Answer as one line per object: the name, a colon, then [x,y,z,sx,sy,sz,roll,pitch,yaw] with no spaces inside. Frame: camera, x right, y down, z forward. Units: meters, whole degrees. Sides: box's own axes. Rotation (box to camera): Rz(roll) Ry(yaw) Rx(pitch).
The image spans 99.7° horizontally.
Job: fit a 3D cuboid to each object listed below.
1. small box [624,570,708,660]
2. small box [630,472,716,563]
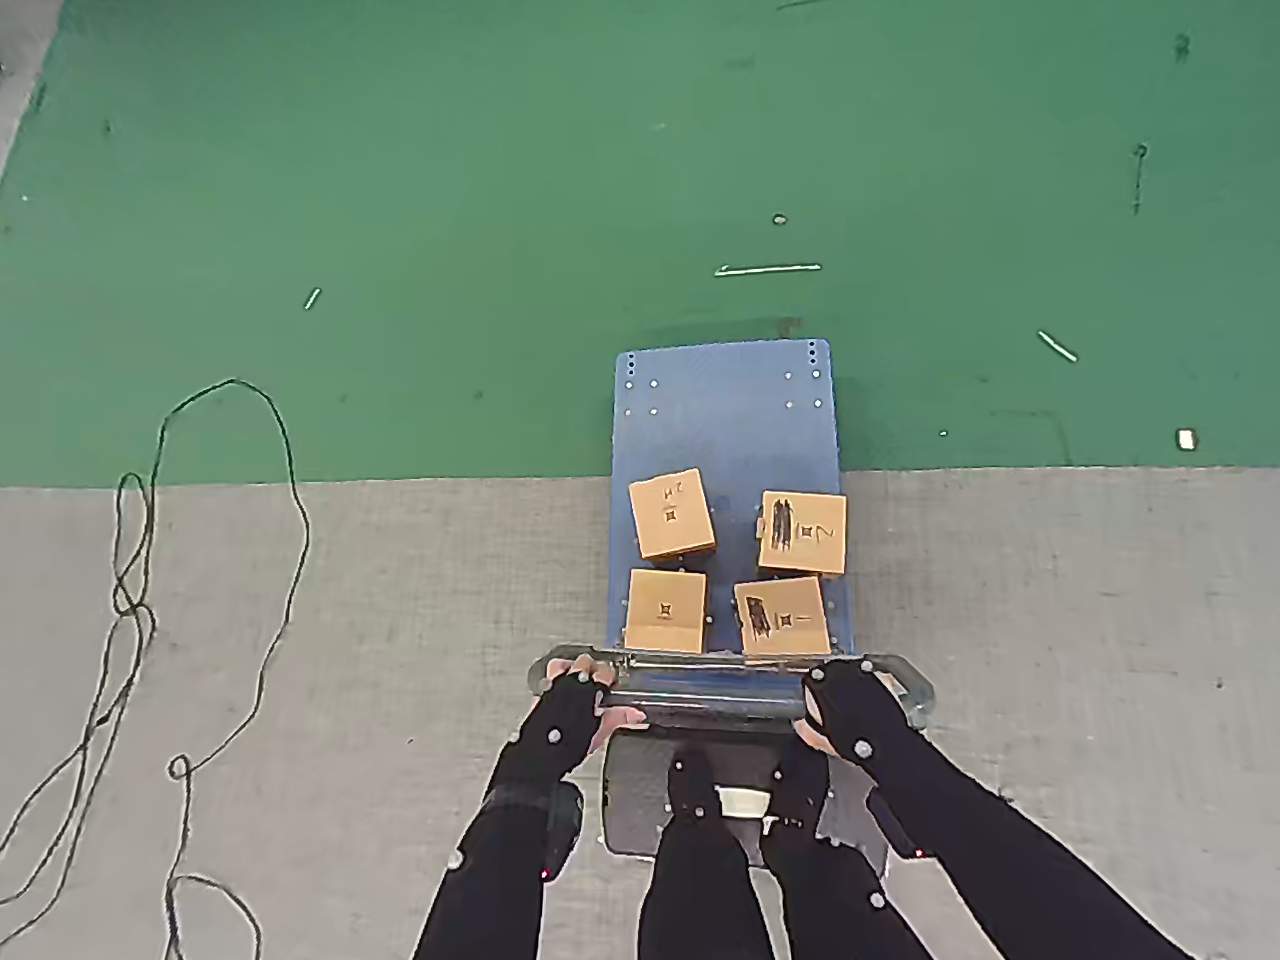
small box: [0.066,0.305,1.230,0.168,0.176,0.179,3,77,10]
small box: [0.082,0.096,1.278,0.168,0.176,0.179,-12,74,6]
